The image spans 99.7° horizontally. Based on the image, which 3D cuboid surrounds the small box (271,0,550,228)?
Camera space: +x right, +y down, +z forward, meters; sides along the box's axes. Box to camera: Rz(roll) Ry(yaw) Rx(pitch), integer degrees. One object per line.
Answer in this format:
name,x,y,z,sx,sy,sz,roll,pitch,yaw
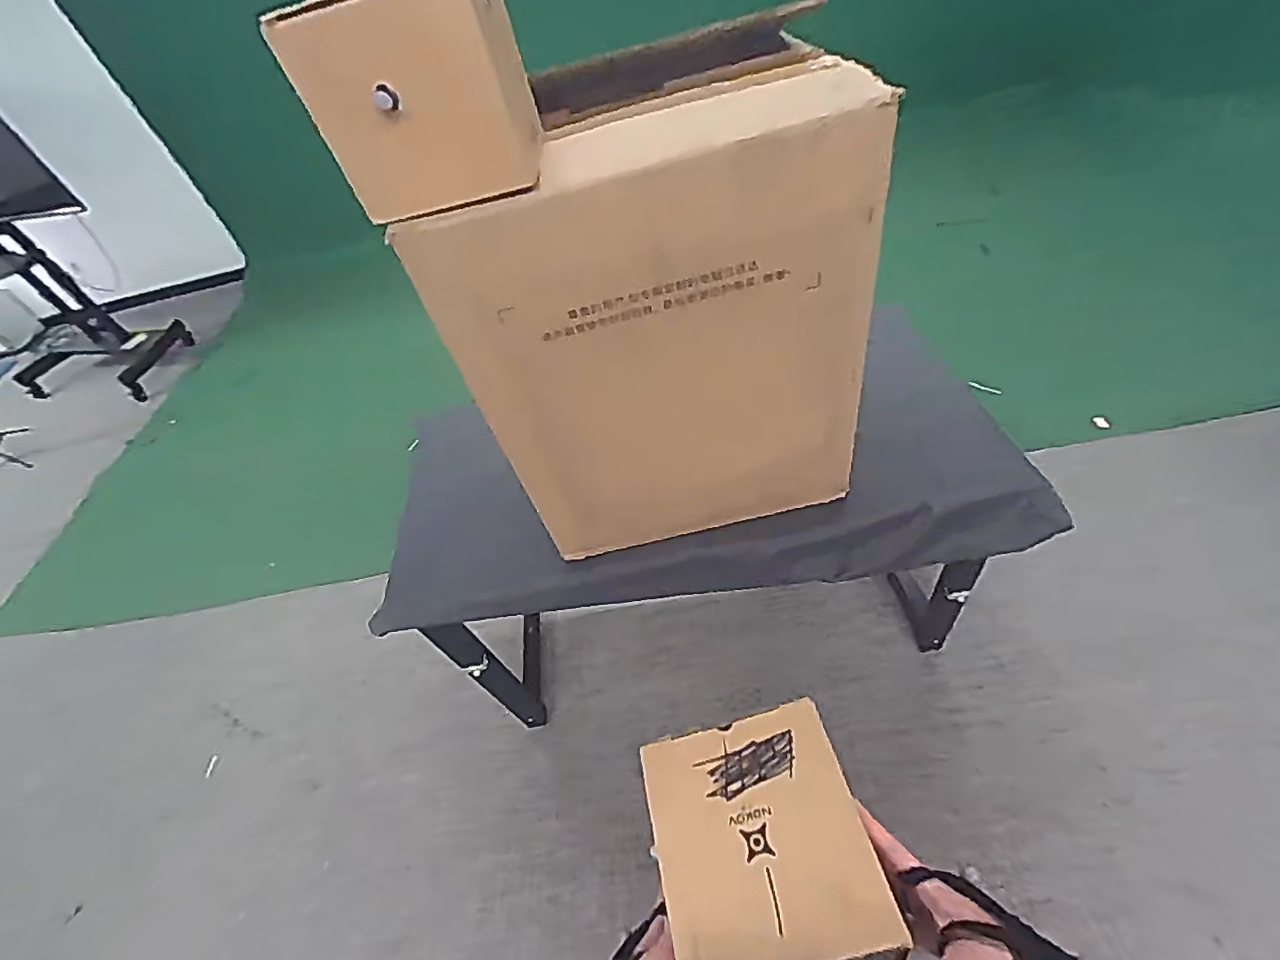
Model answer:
small box,-0.205,-0.379,0.541,0.179,0.176,0.168,-11,49,7
